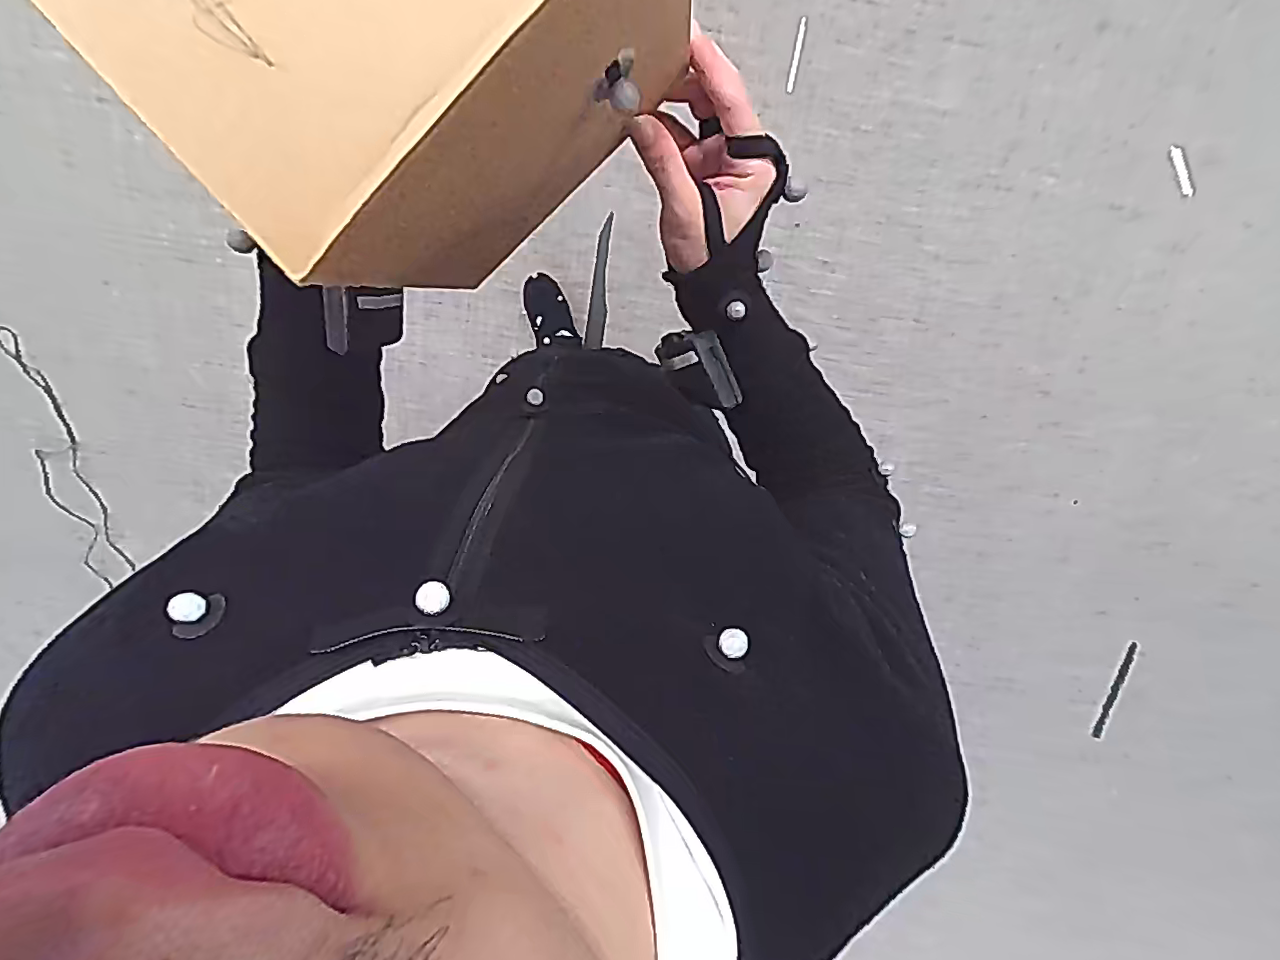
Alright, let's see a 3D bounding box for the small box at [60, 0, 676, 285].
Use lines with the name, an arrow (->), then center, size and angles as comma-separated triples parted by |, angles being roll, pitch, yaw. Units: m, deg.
small box -> -0.097, -0.208, 0.236 | 0.179, 0.176, 0.168 | -38, 101, 15
